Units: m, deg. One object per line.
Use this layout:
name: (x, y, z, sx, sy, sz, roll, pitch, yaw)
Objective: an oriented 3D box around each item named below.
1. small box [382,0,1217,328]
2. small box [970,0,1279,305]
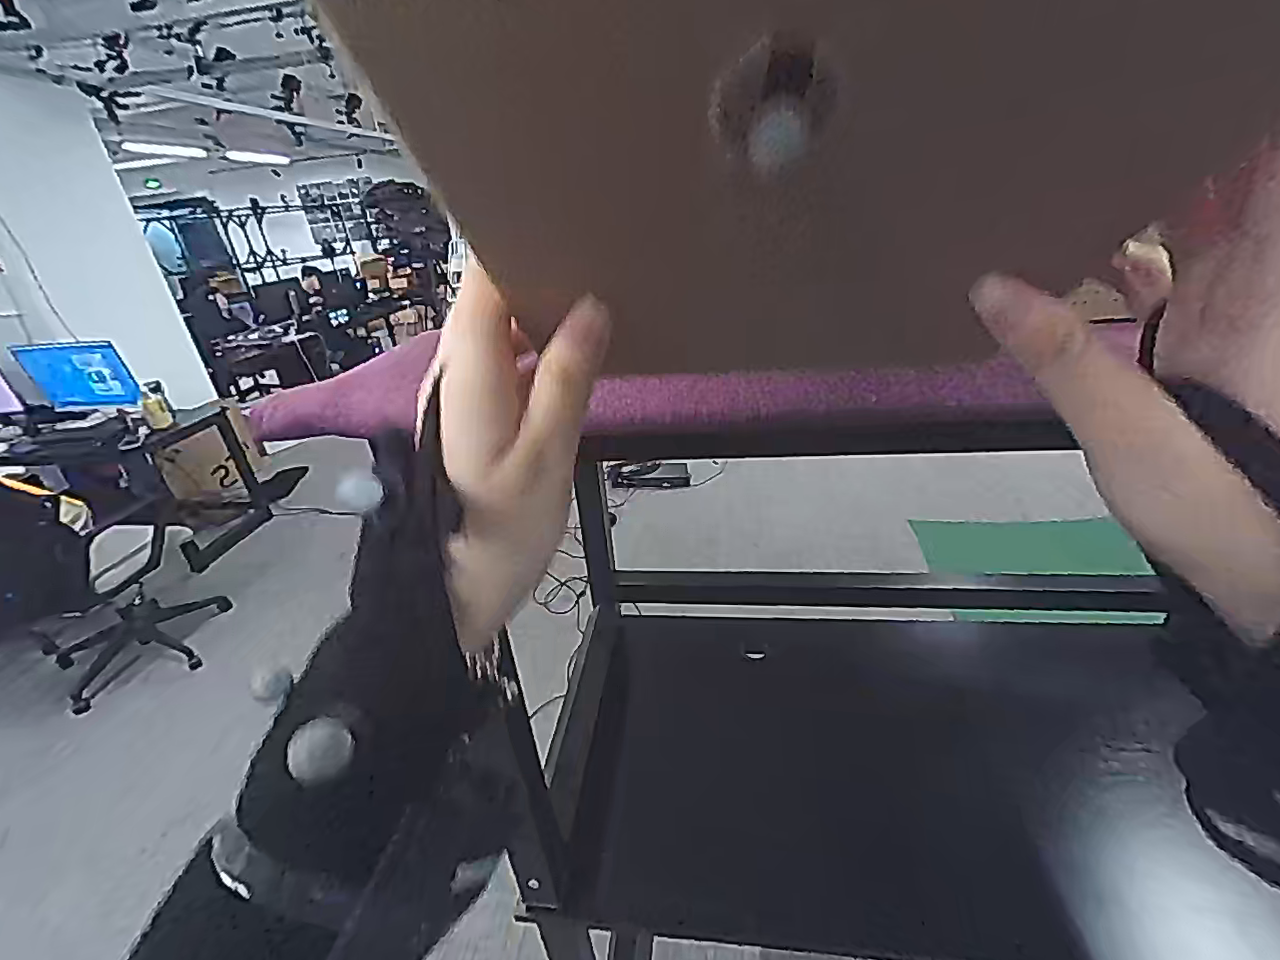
small box: (0.034, -0.155, 0.150, 0.179, 0.168, 0.176, -1, -12, 6)
small box: (0.349, -0.232, 0.410, 0.179, 0.176, 0.168, -1, 26, 9)
